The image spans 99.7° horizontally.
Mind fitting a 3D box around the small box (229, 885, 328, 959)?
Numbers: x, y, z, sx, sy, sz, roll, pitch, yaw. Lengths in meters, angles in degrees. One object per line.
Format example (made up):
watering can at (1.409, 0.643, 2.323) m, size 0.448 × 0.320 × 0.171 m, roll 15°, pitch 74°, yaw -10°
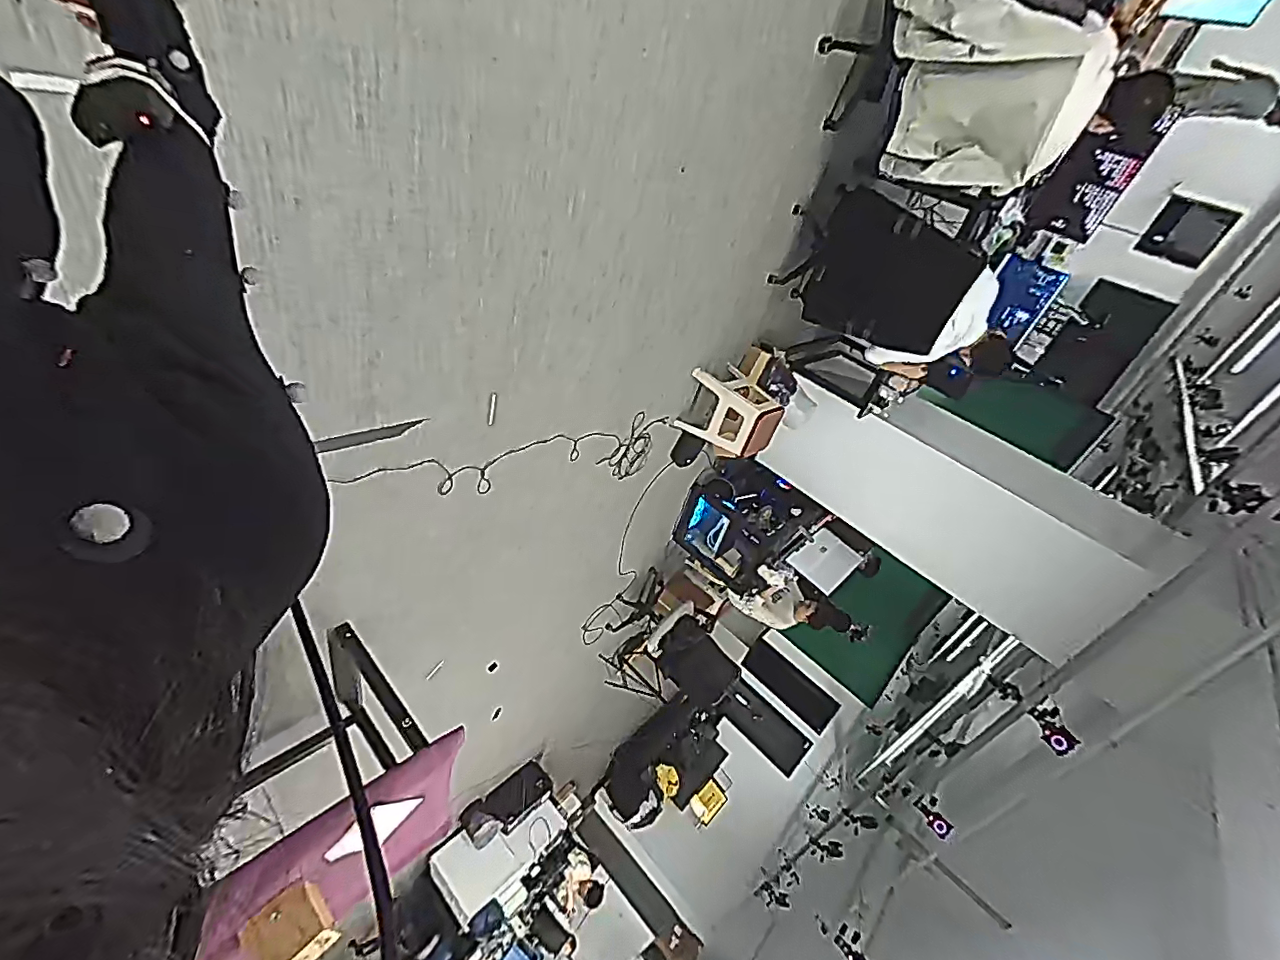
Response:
small box at (-1.031, 1.313, 1.539) m, size 0.179 × 0.176 × 0.168 m, roll -31°, pitch 148°, yaw -34°
